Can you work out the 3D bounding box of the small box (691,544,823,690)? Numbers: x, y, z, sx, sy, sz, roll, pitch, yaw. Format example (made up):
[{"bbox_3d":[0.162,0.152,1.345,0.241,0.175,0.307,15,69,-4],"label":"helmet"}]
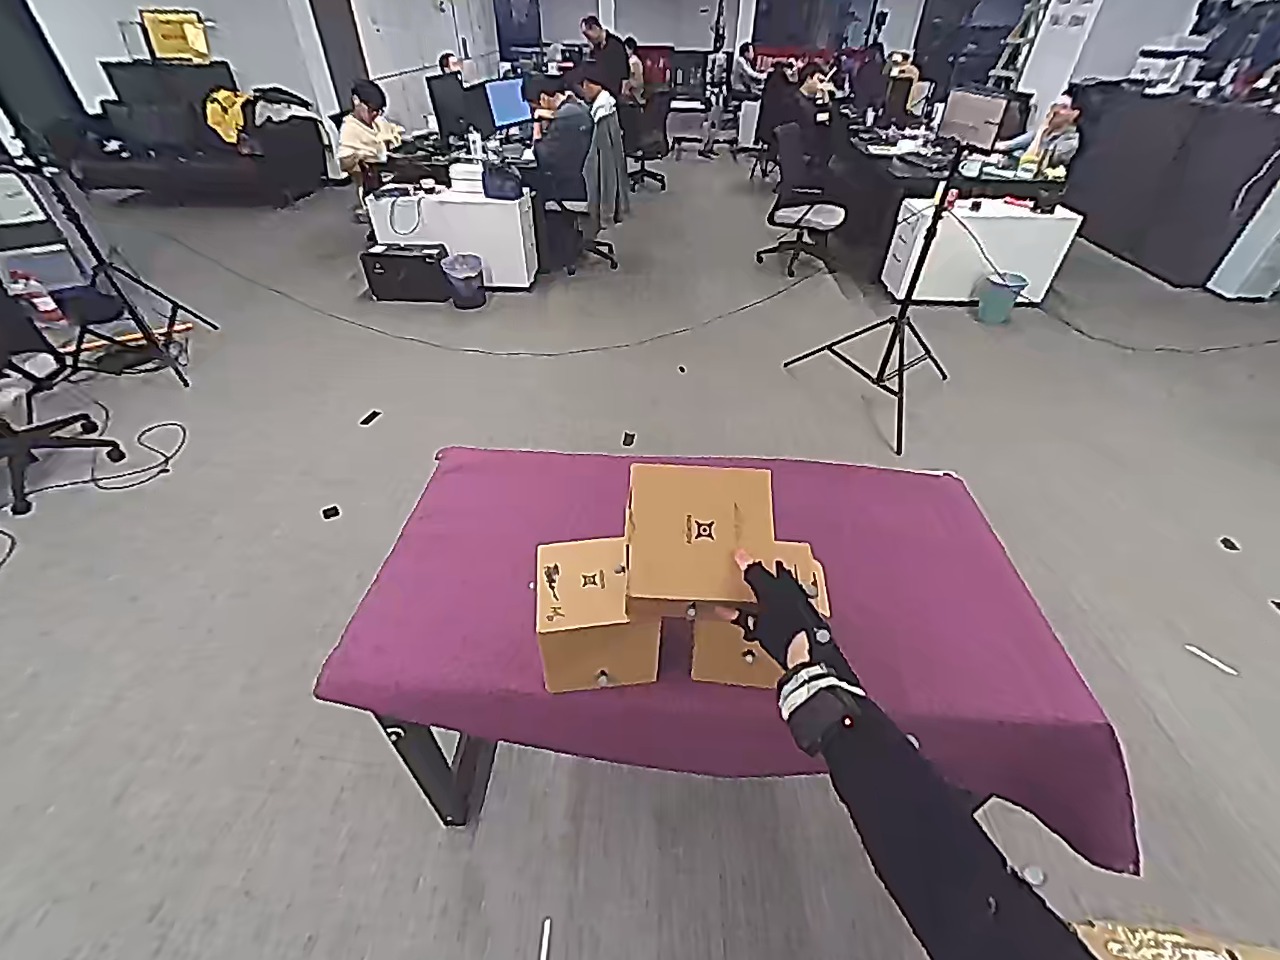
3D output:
[{"bbox_3d":[0.178,0.216,0.869,0.179,0.176,0.168,4,39,5],"label":"small box"}]

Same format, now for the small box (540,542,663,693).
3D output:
[{"bbox_3d":[-0.066,0.218,0.863,0.179,0.176,0.168,-3,39,-7],"label":"small box"}]

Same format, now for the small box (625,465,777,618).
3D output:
[{"bbox_3d":[0.070,0.089,0.717,0.179,0.176,0.168,3,70,-2],"label":"small box"}]
